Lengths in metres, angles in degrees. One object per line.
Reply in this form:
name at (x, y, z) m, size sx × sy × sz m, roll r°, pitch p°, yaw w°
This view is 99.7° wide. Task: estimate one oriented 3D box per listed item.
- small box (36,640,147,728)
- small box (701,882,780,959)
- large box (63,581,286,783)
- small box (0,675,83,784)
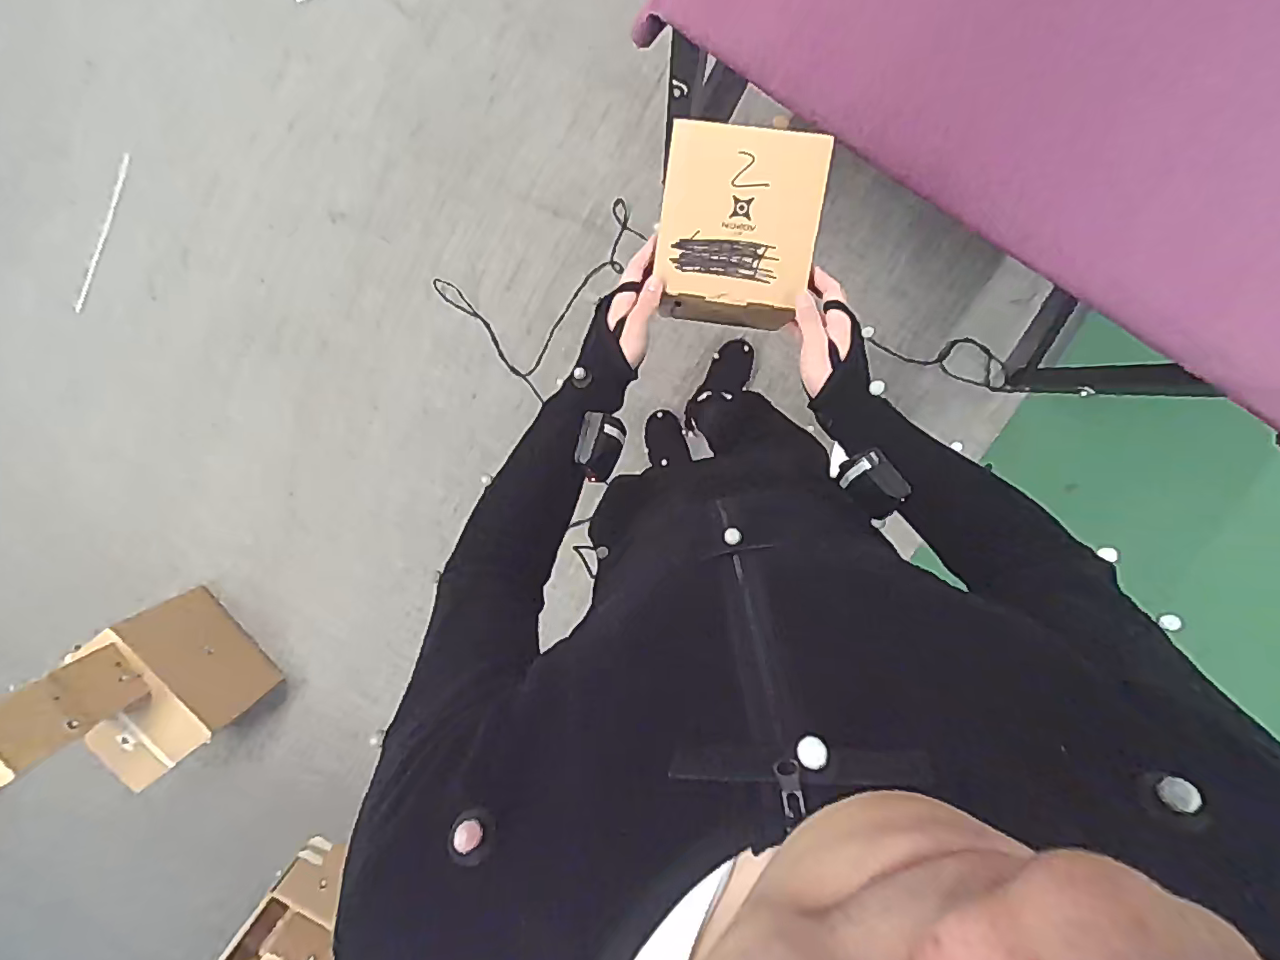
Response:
small box at (-1.422, 0.539, 1.362) m, size 0.179 × 0.176 × 0.168 m, roll -30°, pitch 100°, yaw 5°
small box at (0.274, 1.250, 1.466) m, size 0.168 × 0.176 × 0.179 m, roll -22°, pitch 98°, yaw 7°
large box at (-1.399, 0.586, 1.620) m, size 0.320 × 0.320 × 0.408 m, roll -36°, pitch 99°, yaw 8°
small box at (-1.415, 0.569, 1.201) m, size 0.179 × 0.176 × 0.168 m, roll -30°, pitch 100°, yaw 6°
